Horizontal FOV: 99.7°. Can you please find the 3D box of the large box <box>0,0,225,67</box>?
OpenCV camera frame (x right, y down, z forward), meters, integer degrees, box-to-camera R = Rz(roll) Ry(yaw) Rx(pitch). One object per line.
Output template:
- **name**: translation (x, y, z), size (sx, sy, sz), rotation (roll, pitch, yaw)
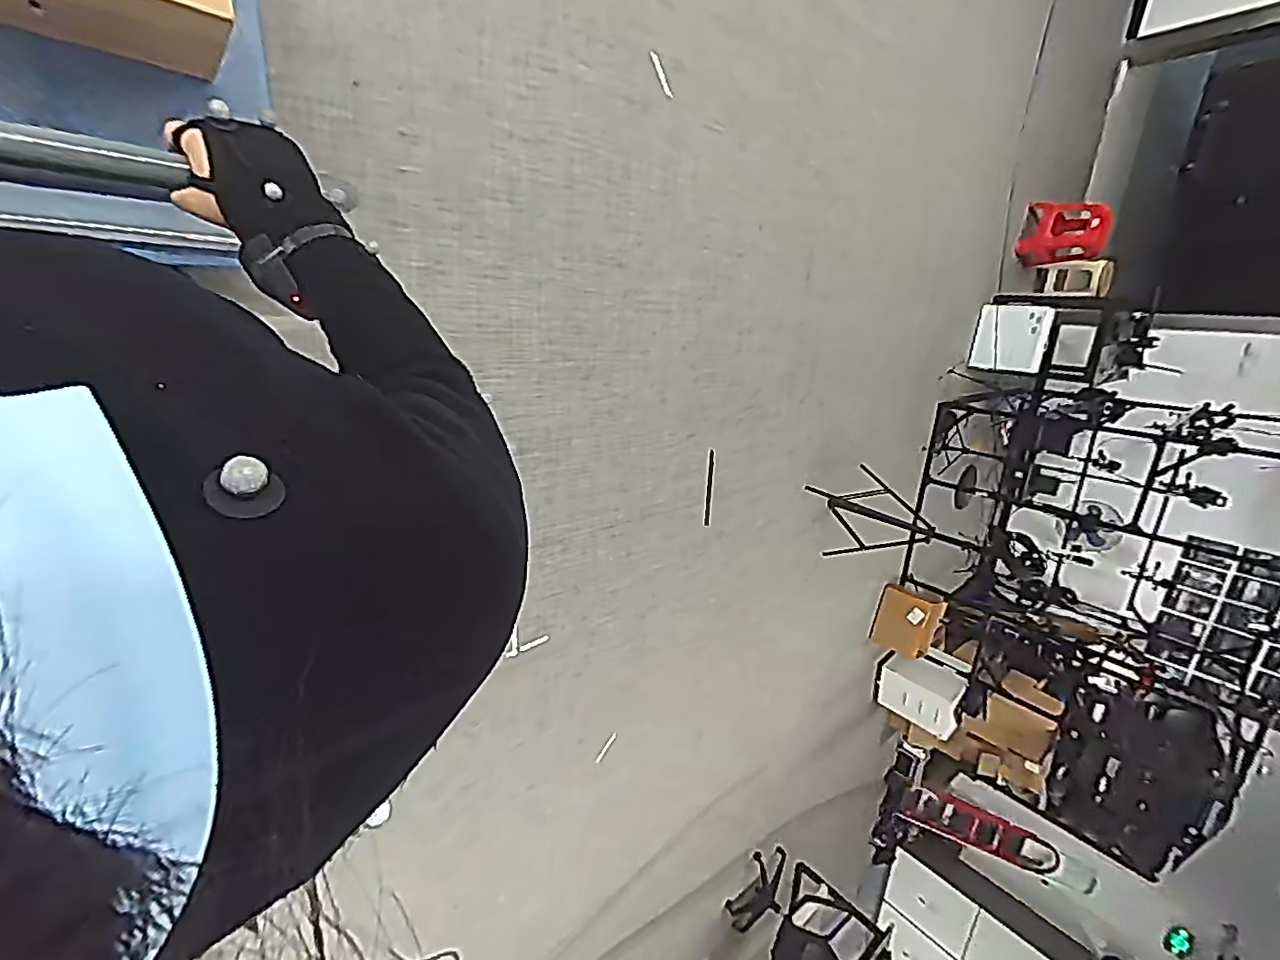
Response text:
- **large box**: translation (-0.797, -0.788, 0.669), size (0.408, 0.320, 0.320), rotation (-10, 111, -40)
